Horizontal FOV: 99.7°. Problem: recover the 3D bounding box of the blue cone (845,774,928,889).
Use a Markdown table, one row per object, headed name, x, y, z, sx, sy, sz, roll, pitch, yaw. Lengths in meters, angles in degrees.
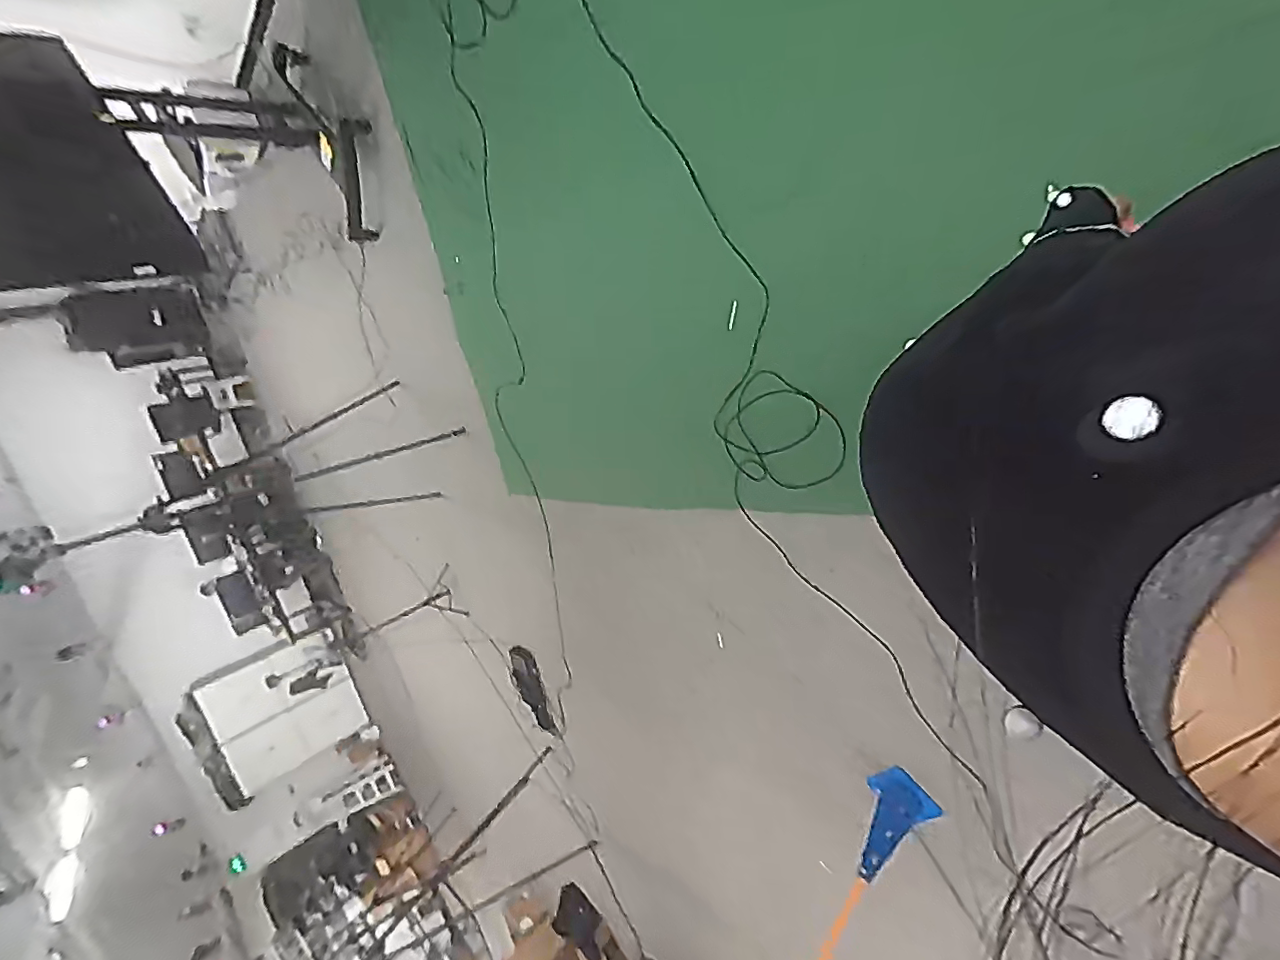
| name | x | y | z | sx | sy | sz | roll | pitch | yaw |
| --- | --- | --- | --- | --- | --- | --- | --- | --- | --- |
| blue cone | 0.789 | 1.202 | 1.808 | 0.192 | 0.380 | 0.193 | 44 | 137 | 19 |
